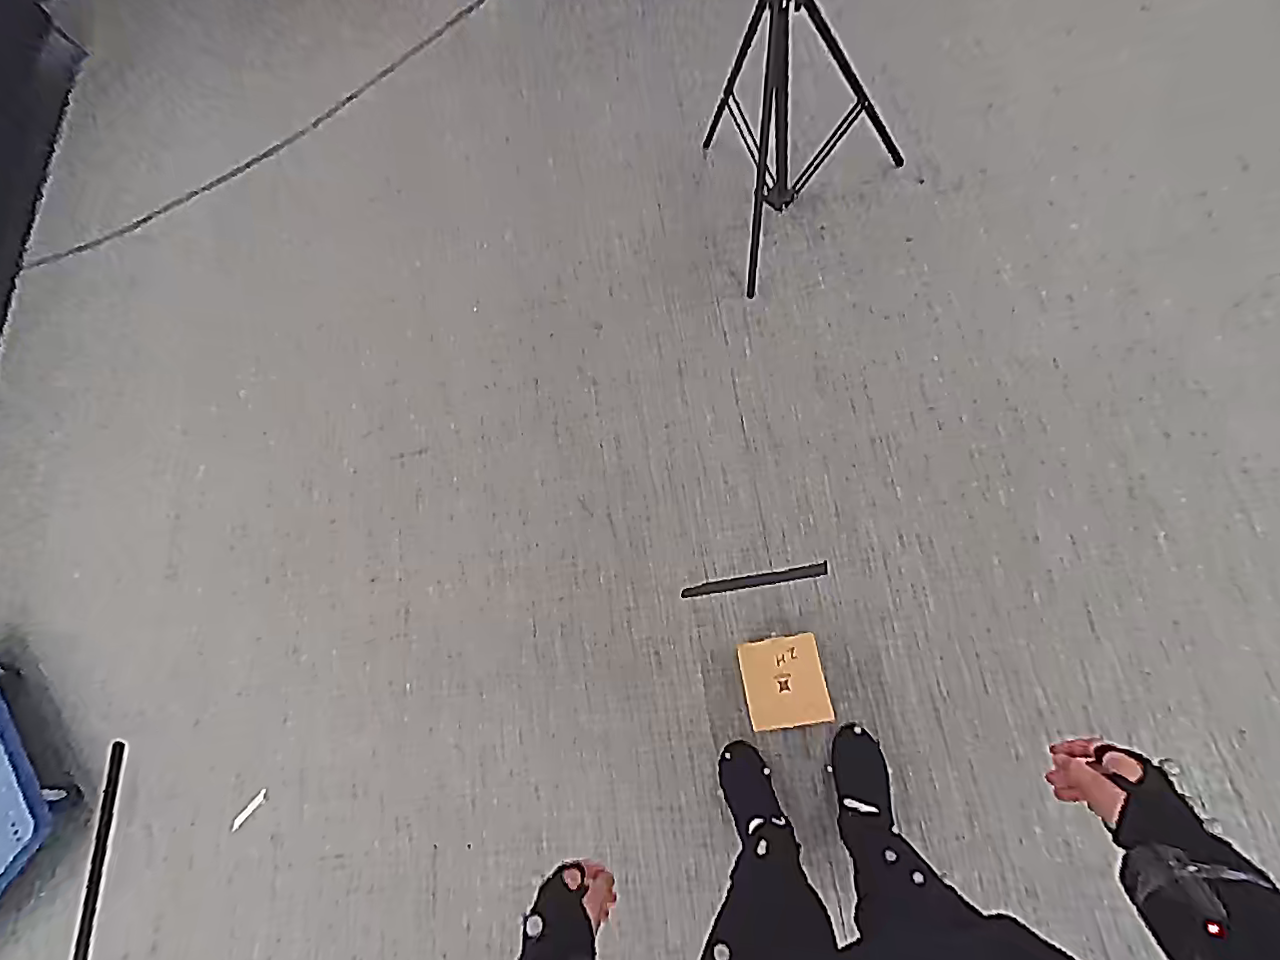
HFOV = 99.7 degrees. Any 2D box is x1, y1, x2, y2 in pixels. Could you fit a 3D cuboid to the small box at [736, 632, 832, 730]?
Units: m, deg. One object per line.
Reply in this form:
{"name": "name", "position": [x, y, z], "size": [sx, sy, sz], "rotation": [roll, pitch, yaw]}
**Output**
{"name": "small box", "position": [0.315, 0.437, 1.190], "size": [0.168, 0.176, 0.179], "rotation": [-13, 70, 10]}
